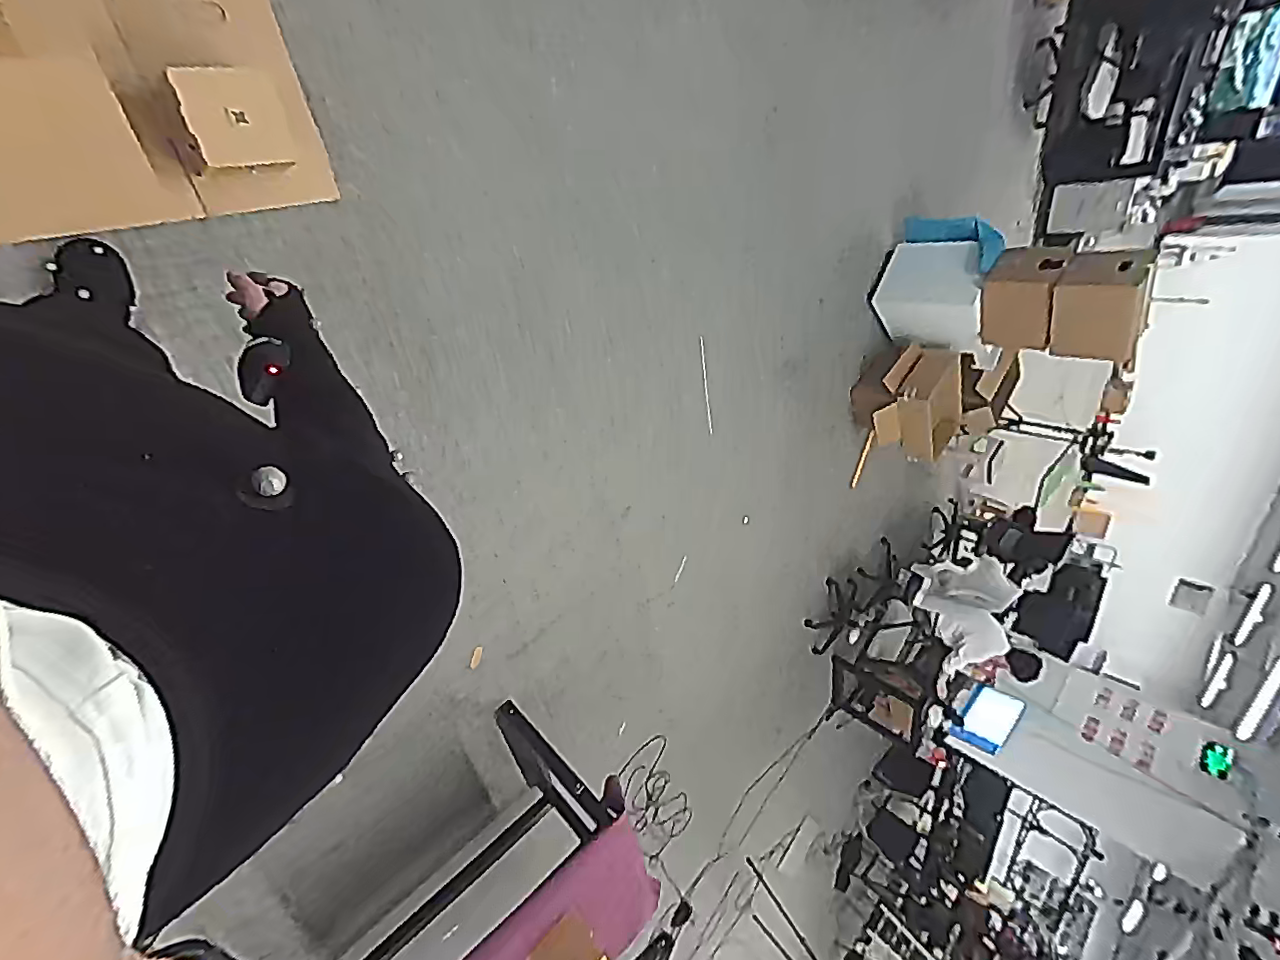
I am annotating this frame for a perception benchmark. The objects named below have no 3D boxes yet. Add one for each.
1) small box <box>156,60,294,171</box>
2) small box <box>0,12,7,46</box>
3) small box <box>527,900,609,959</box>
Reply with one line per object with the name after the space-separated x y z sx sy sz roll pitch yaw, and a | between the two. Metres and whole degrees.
-0.861 -0.750 1.125 0.179 0.176 0.168 -28 125 -33 | small box
-1.138 -0.799 0.834 0.179 0.176 0.168 -21 120 -37 | small box
-0.214 1.412 1.597 0.179 0.176 0.168 -33 127 -31 | small box
